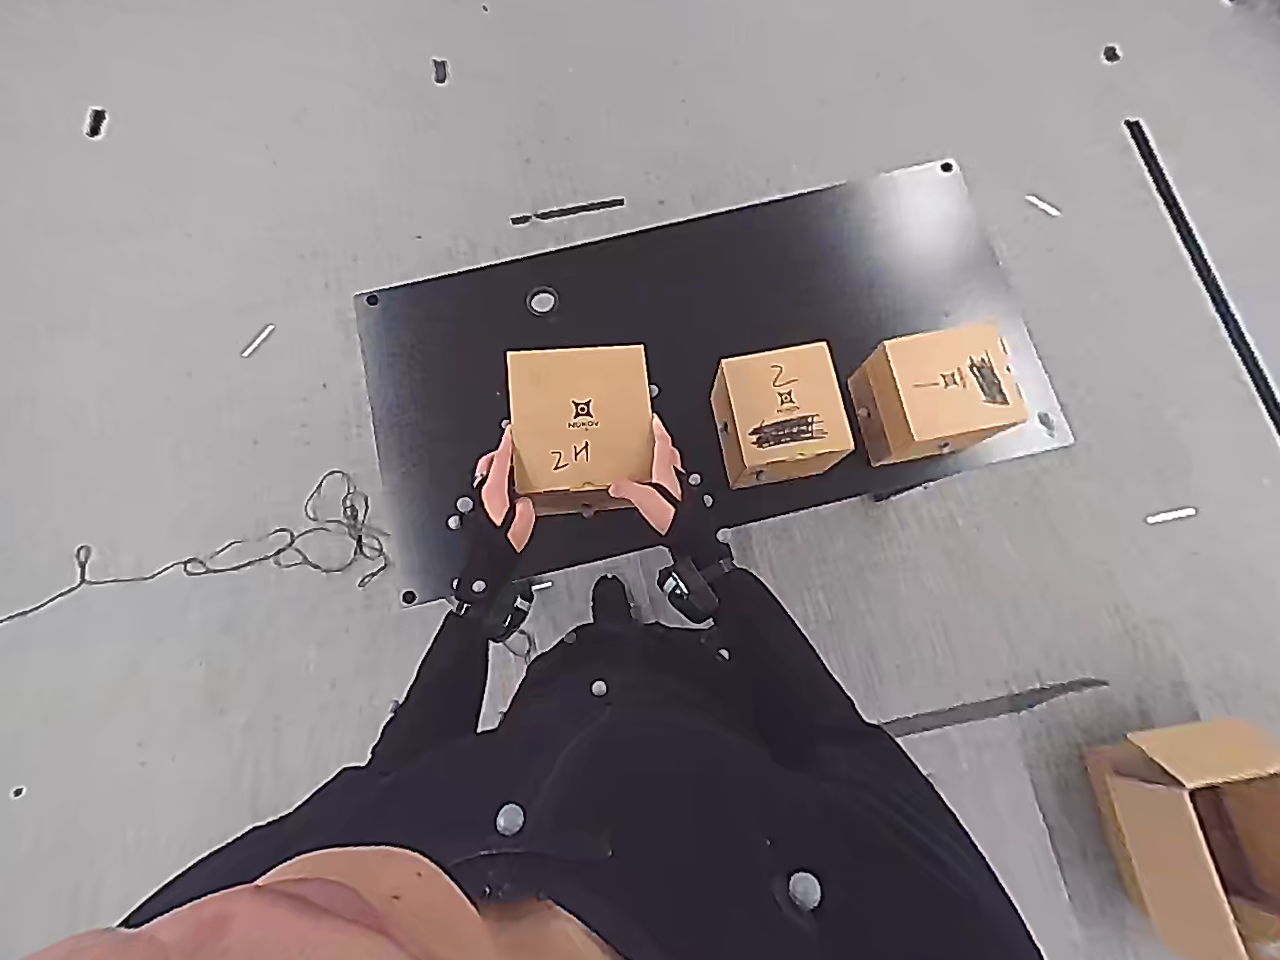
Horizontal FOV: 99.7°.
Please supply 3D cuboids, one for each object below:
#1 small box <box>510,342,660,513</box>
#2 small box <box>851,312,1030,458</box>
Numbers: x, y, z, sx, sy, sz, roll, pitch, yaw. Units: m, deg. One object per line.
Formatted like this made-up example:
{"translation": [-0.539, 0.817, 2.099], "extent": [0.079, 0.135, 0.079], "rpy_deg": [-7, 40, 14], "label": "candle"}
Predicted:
{"translation": [-0.074, -0.060, 0.703], "extent": [0.168, 0.176, 0.179], "rpy_deg": [-5, 79, -7], "label": "small box"}
{"translation": [0.471, -0.144, 0.877], "extent": [0.179, 0.176, 0.168], "rpy_deg": [-12, 78, 1], "label": "small box"}
